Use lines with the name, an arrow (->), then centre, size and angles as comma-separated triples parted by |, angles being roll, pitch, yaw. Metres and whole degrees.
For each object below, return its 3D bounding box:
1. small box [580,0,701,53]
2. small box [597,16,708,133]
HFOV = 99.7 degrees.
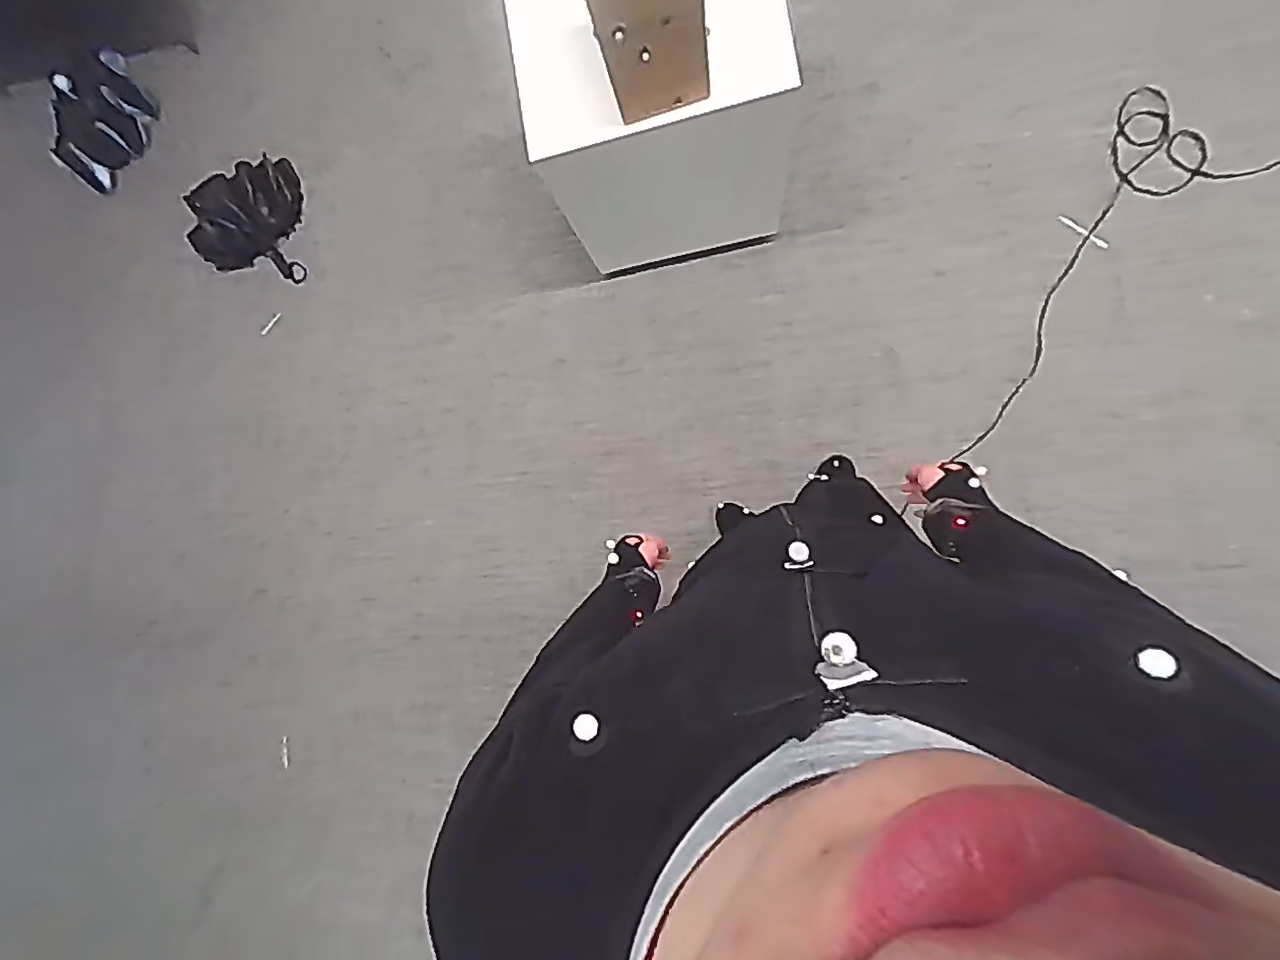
small box -> -0.014, -0.749, 0.755 | 0.168, 0.176, 0.179 | -12, 85, 9
small box -> 0.015, -0.743, 0.917 | 0.168, 0.176, 0.179 | -13, 84, 10
